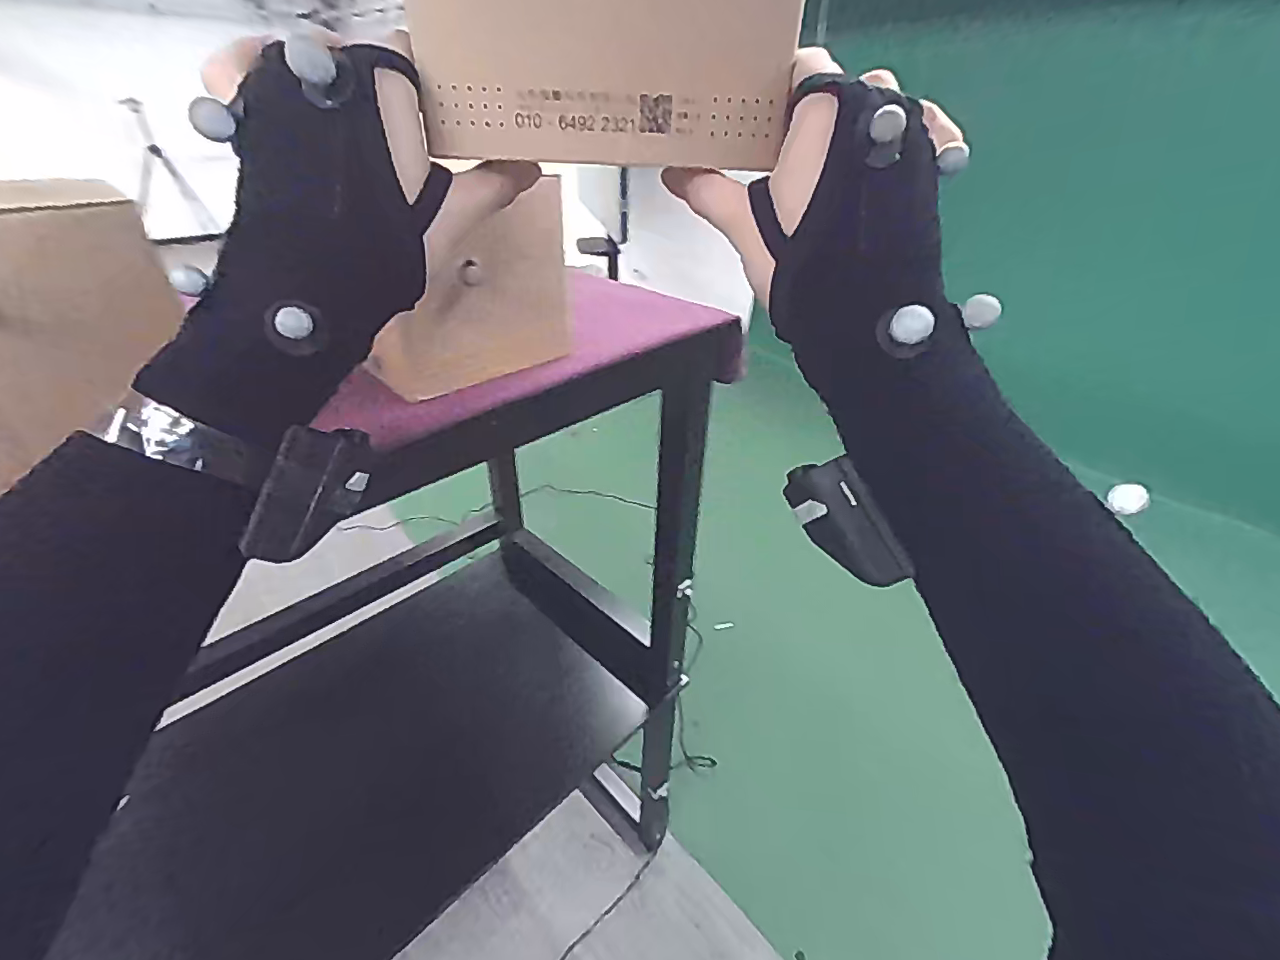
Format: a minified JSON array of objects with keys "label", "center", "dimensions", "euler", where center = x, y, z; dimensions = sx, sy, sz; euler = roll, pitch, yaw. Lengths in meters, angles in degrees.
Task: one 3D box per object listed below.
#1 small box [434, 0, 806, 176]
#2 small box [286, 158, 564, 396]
[{"label":"small box","center":[-0.010,-0.260,0.286],"dimensions":[0.168,0.176,0.179],"euler":[1,31,-4]},{"label":"small box","center":[-0.188,-0.198,0.513],"dimensions":[0.168,0.176,0.179],"euler":[31,45,34]}]
